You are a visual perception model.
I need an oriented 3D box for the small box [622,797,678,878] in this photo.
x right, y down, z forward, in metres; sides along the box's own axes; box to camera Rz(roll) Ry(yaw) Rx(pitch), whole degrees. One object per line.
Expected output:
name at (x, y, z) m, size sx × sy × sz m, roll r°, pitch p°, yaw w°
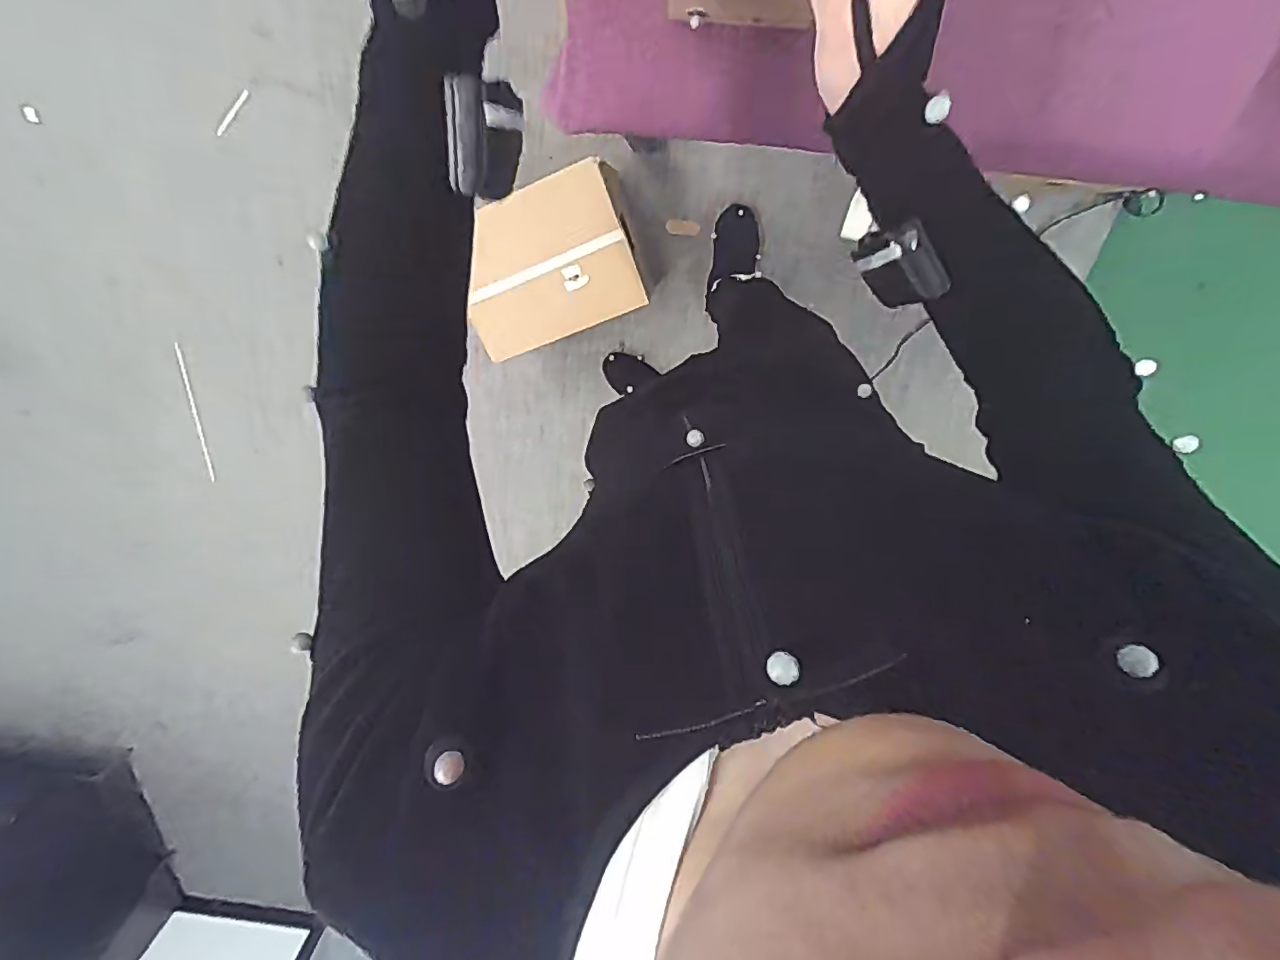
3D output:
small box at (0.042, 1.340, 2.033) m, size 0.168 × 0.176 × 0.179 m, roll 17°, pitch 115°, yaw -1°

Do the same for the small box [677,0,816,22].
small box at (0.117, -0.588, 0.532) m, size 0.168 × 0.176 × 0.179 m, roll 5°, pitch 115°, yaw 2°

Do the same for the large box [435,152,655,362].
large box at (-0.203, -0.532, 1.321) m, size 0.408 × 0.320 × 0.320 m, roll -19°, pitch 113°, yaw 12°
